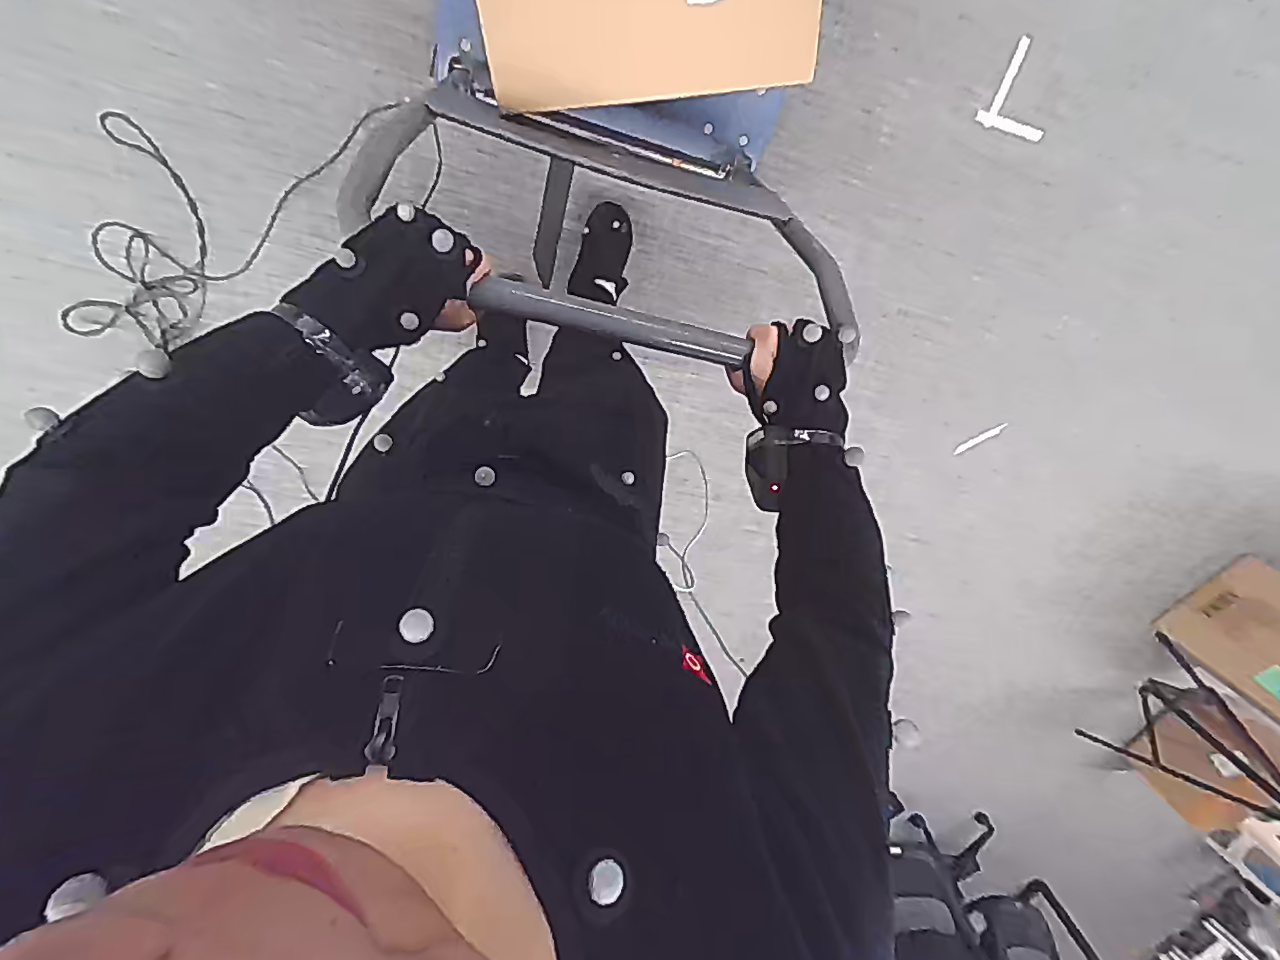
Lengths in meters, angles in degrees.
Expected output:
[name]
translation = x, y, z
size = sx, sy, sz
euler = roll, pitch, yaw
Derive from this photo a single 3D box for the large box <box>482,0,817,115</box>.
[large box]
translation = -0.008, -0.700, 0.709
size = 0.408, 0.320, 0.320
euler = -8, 130, -2
